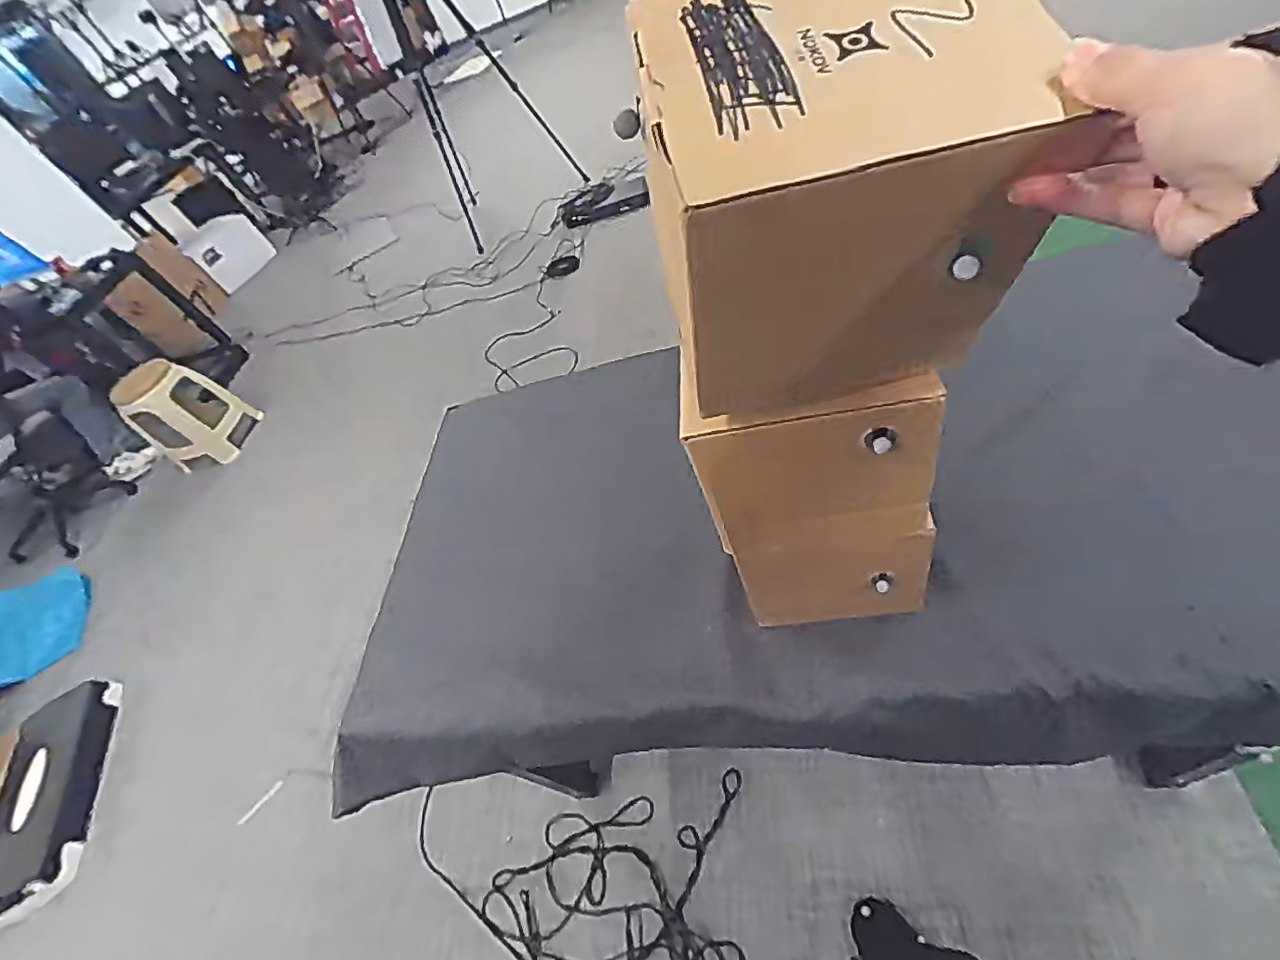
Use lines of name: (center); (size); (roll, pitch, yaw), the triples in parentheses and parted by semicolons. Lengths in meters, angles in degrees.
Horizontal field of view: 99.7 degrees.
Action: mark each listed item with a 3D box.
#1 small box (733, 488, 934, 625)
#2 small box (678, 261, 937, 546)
small box: (0.197, 0.043, 0.591); (0.179, 0.176, 0.168); (-12, 49, 16)
small box: (0.139, -0.056, 0.476); (0.179, 0.176, 0.168); (-9, 50, 15)
